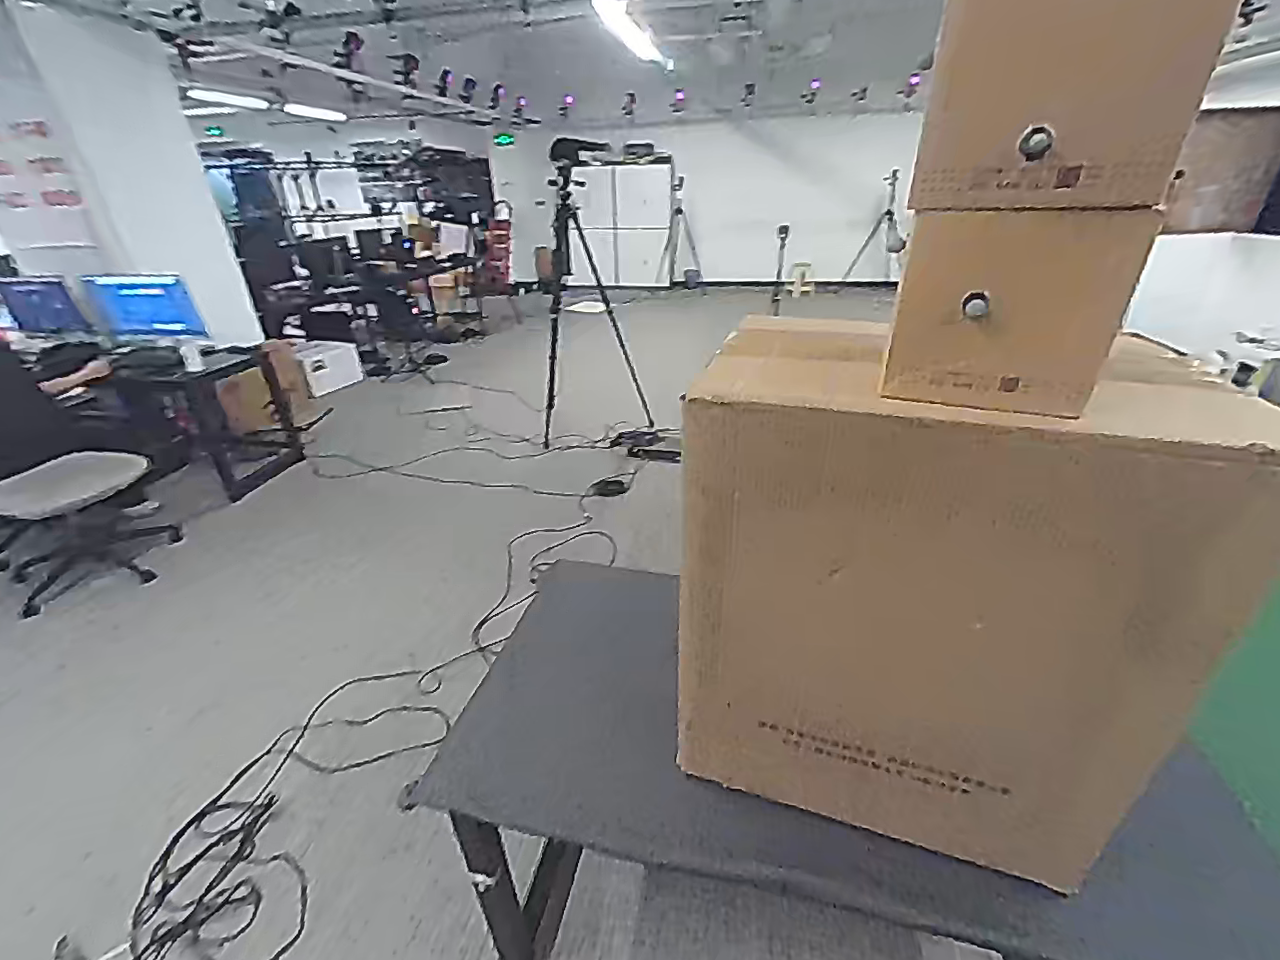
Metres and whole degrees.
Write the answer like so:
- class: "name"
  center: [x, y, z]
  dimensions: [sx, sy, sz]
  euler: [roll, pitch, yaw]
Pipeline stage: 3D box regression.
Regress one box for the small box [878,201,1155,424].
- class: "small box"
  center: [0.334, -0.165, 0.521]
  dimensions: [0.168, 0.176, 0.179]
  euler: [11, 32, 21]
